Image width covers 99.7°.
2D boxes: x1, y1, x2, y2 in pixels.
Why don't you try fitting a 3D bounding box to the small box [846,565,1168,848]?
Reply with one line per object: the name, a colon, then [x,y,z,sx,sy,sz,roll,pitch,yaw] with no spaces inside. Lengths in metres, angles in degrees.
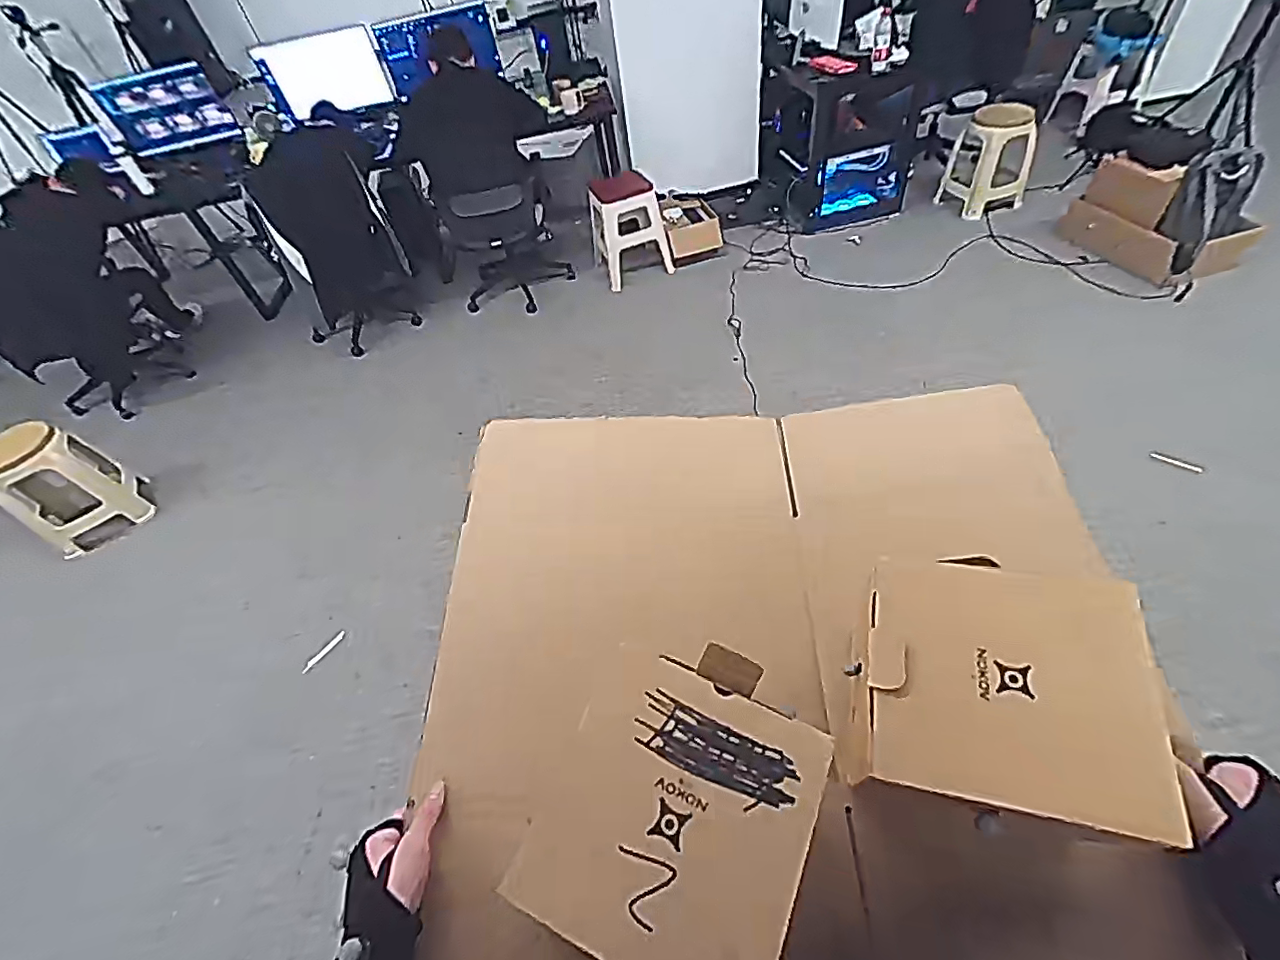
small box: [0.276,0.187,0.456,0.179,0.176,0.168,3,60,19]
